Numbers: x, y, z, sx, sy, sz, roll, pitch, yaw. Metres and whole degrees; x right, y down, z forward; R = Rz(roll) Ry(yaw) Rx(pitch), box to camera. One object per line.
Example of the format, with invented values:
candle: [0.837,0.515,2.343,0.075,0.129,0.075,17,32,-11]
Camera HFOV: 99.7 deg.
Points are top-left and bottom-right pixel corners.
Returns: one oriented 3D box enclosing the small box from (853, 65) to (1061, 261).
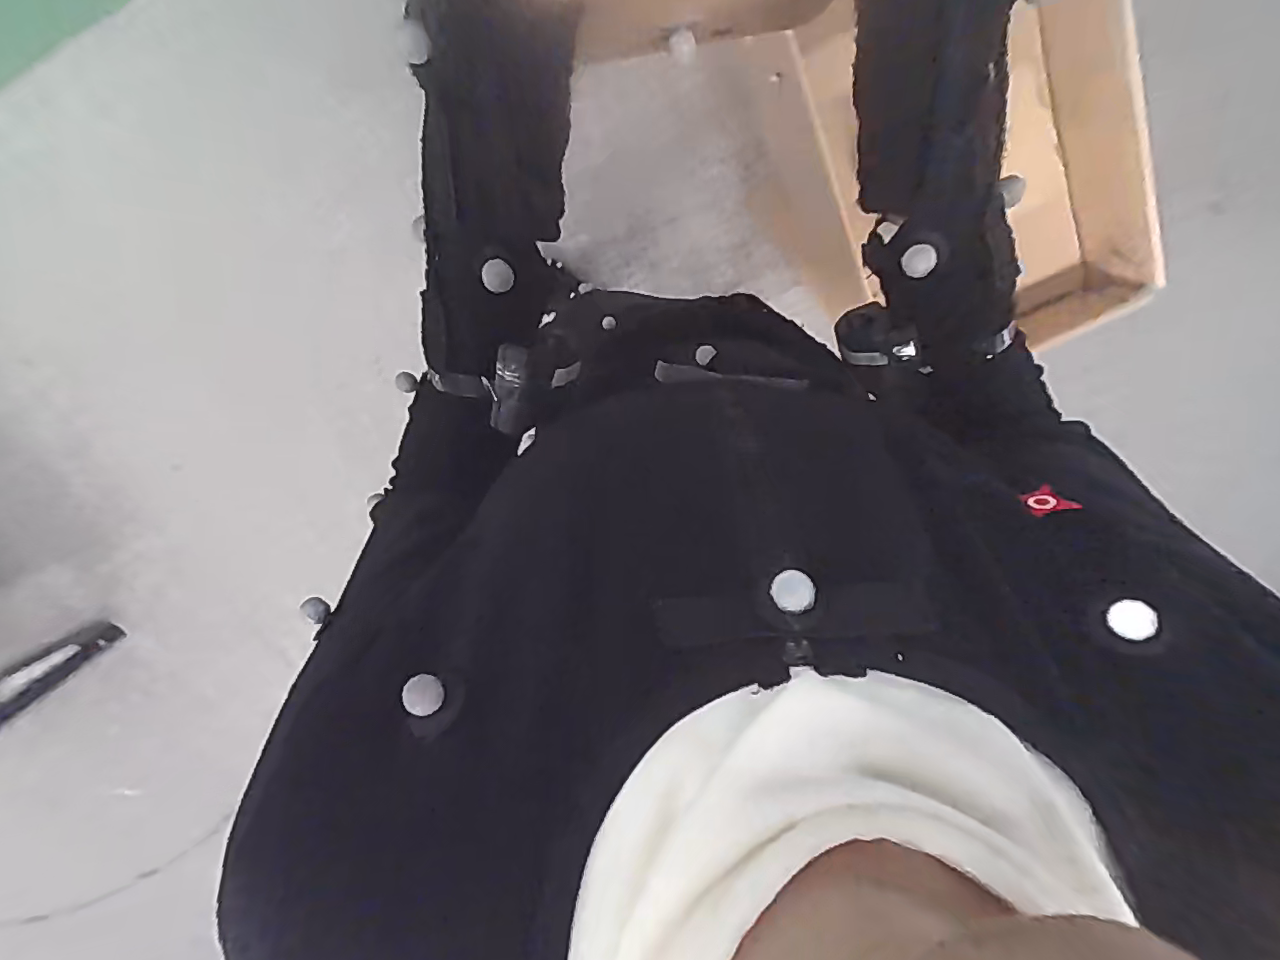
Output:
small box: [0.443,-0.438,0.780,0.179,0.176,0.168,-30,108,12]

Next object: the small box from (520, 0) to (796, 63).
small box: [0.004,-0.321,0.233,0.168,0.176,0.179,-9,115,4]
